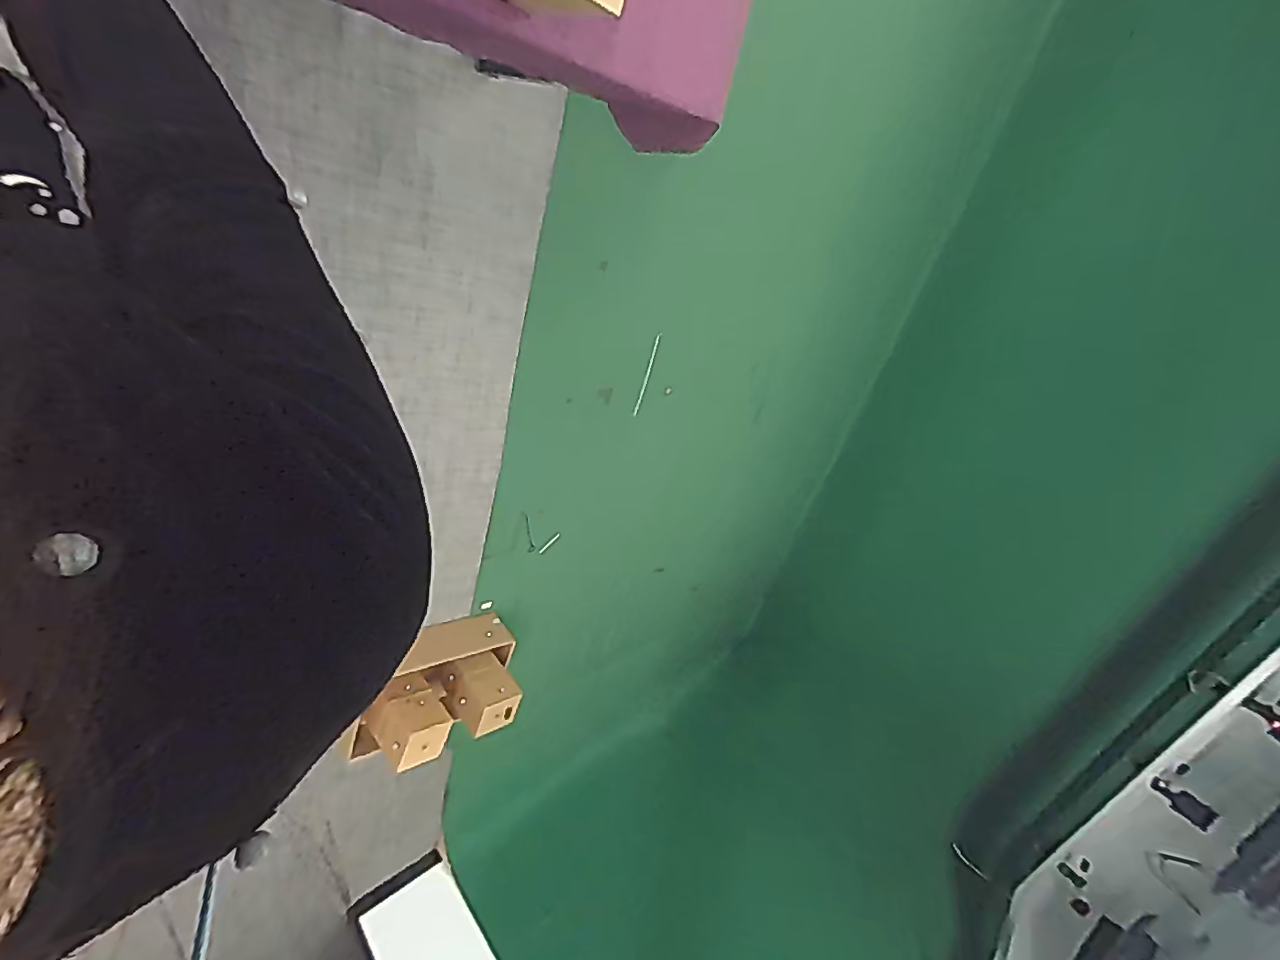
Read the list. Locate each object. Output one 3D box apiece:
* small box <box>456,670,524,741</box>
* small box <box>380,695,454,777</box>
[{"bbox_3d":[-0.600,0.890,2.153,0.179,0.176,0.168,-2,121,-49],"label":"small box"},{"bbox_3d":[-0.801,0.905,1.929,0.168,0.176,0.179,5,113,-53],"label":"small box"}]
